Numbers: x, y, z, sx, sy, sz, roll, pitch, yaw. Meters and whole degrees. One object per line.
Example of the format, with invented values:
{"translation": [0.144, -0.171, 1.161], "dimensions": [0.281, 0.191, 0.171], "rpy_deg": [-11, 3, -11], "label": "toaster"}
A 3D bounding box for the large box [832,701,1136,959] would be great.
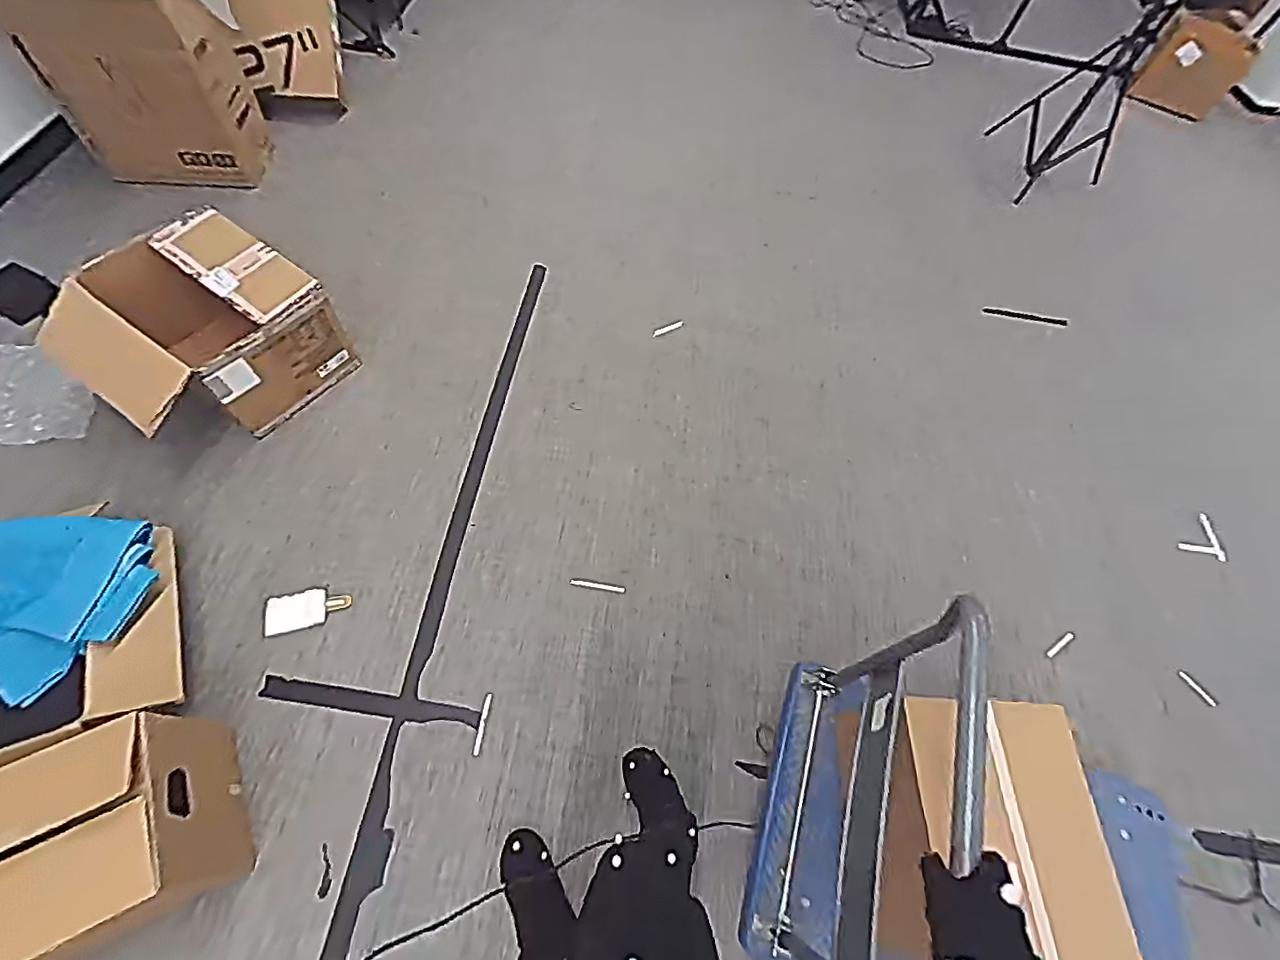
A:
{"translation": [0.598, 0.652, 1.026], "dimensions": [0.320, 0.320, 0.408], "rpy_deg": [4, 61, -4], "label": "large box"}
